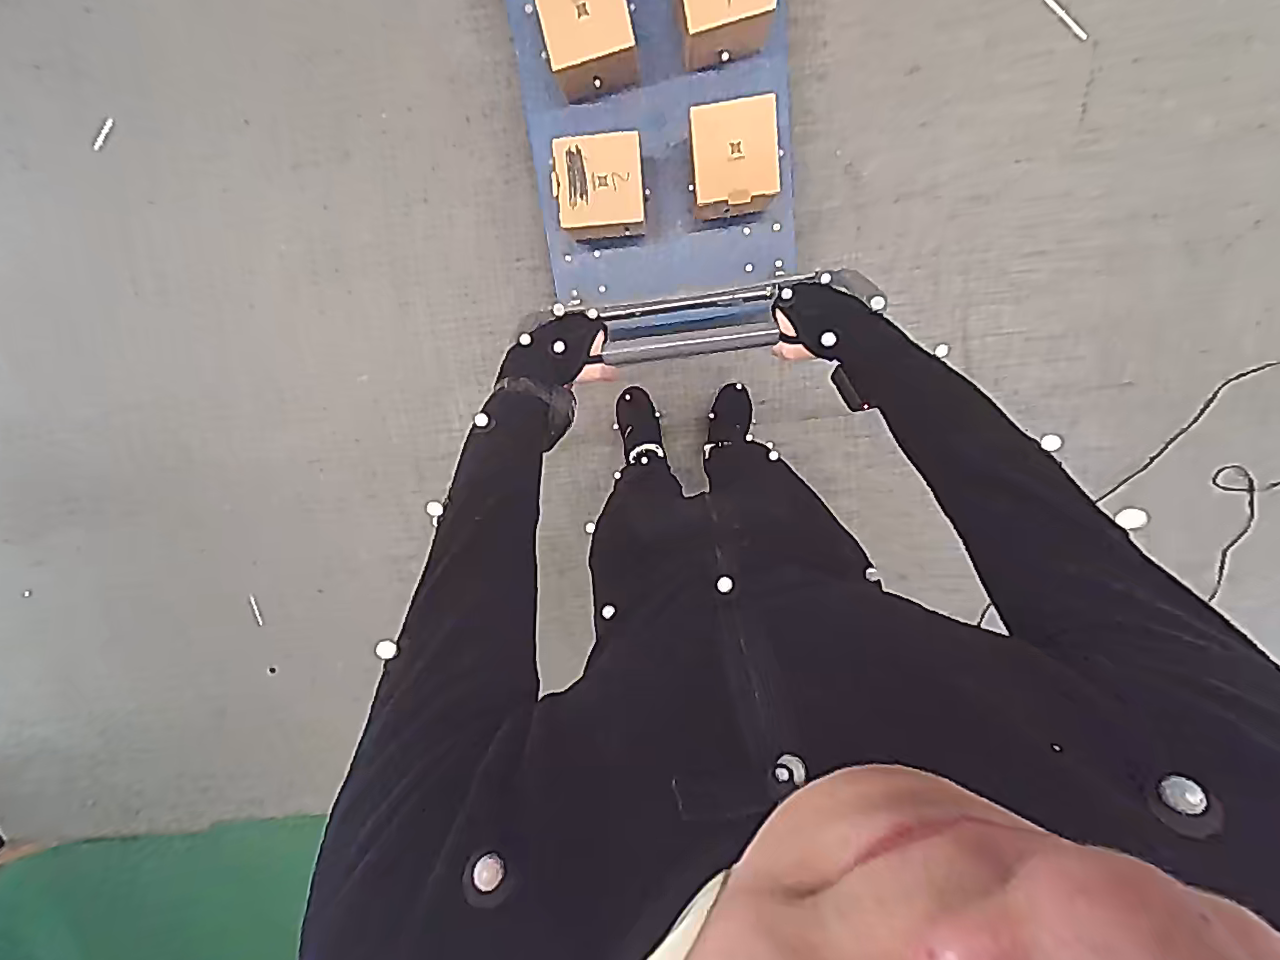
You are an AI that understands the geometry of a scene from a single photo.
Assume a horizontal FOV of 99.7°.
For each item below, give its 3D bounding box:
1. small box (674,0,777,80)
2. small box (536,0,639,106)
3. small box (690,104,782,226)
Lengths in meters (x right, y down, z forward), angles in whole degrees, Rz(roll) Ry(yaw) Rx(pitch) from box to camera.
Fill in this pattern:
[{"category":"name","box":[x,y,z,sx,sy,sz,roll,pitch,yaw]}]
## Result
[{"category":"small box","box":[0.161,-0.937,1.062,0.168,0.176,0.179,-12,106,7]},{"category":"small box","box":[-0.100,-0.888,1.089,0.168,0.176,0.179,-13,105,6]},{"category":"small box","box":[0.197,-0.654,1.142,0.168,0.176,0.179,-7,106,5]}]
